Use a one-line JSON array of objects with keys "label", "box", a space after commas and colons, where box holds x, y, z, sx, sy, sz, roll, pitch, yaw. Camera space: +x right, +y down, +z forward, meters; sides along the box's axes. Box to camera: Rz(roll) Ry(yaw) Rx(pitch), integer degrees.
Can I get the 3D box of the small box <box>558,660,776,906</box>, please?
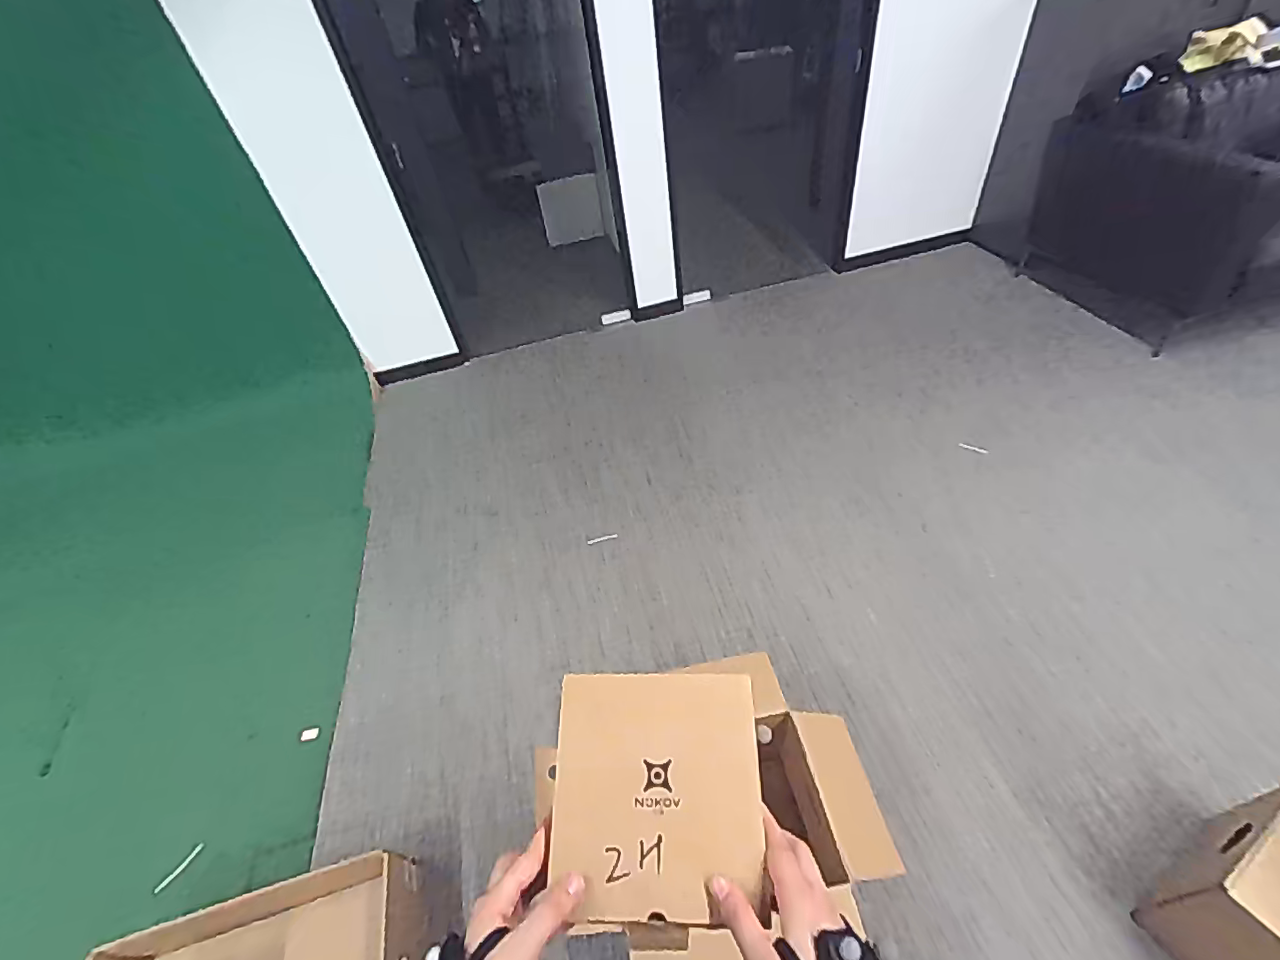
[{"label": "small box", "box": [0.026, 0.278, 0.511, 0.168, 0.176, 0.179, -2, 60, 4]}]
